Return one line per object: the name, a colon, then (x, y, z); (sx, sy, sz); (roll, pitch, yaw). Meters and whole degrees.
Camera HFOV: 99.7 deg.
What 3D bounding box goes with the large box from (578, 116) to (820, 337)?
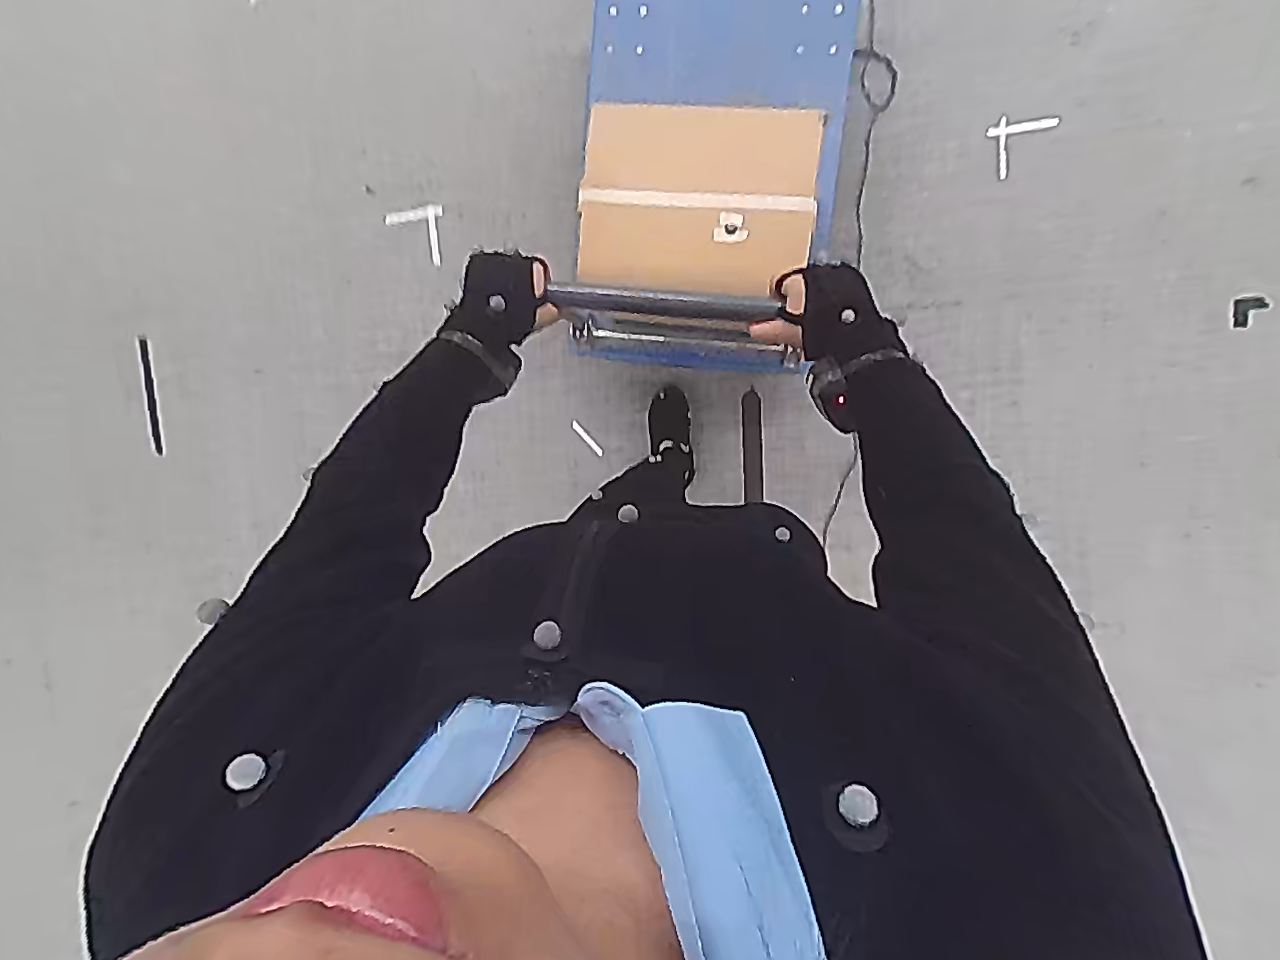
large box: (0.111, -0.481, 1.088); (0.408, 0.320, 0.320); (6, 96, 7)
